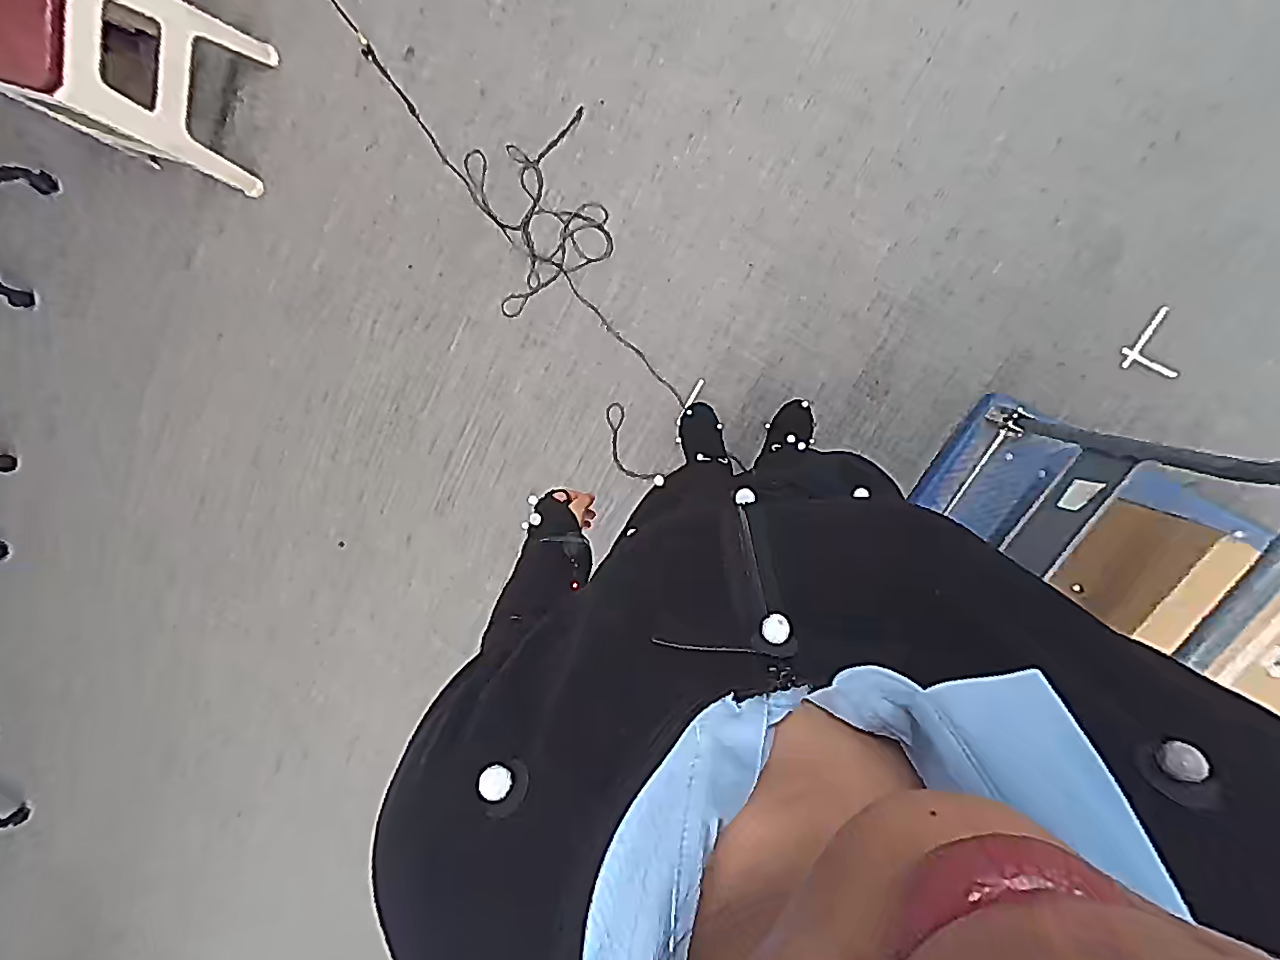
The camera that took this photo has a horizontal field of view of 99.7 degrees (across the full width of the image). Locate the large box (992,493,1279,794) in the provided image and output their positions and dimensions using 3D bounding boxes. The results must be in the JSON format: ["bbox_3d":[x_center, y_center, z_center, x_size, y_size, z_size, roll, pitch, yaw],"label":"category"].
[{"bbox_3d":[1.013,0.292,1.066,0.320,0.320,0.408,30,103,2],"label":"large box"}]
